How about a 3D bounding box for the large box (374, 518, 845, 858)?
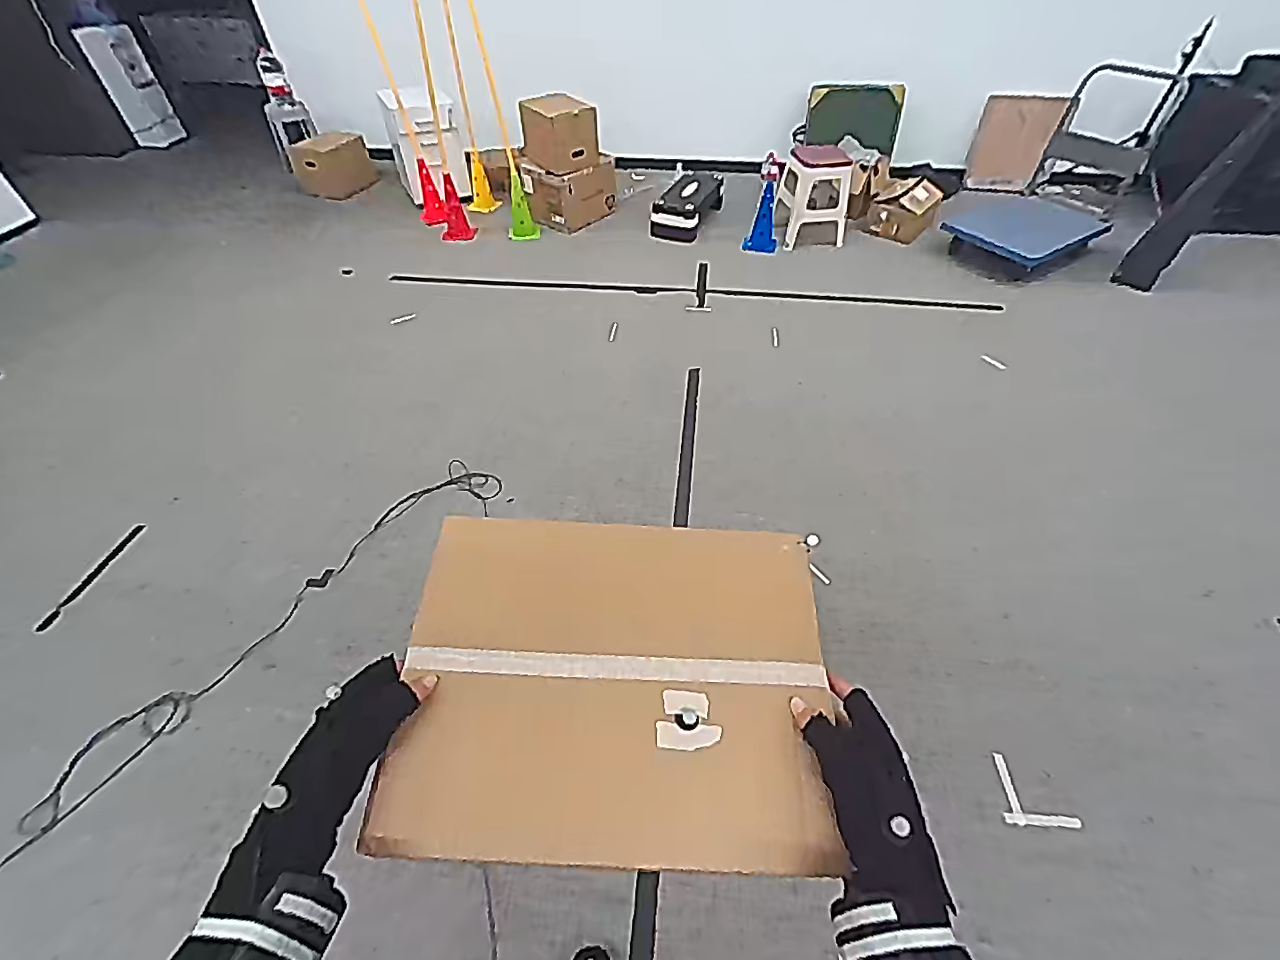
[{"bbox_3d":[-0.028,0.261,0.654,0.408,0.320,0.320,3,57,-1],"label":"large box"}]
